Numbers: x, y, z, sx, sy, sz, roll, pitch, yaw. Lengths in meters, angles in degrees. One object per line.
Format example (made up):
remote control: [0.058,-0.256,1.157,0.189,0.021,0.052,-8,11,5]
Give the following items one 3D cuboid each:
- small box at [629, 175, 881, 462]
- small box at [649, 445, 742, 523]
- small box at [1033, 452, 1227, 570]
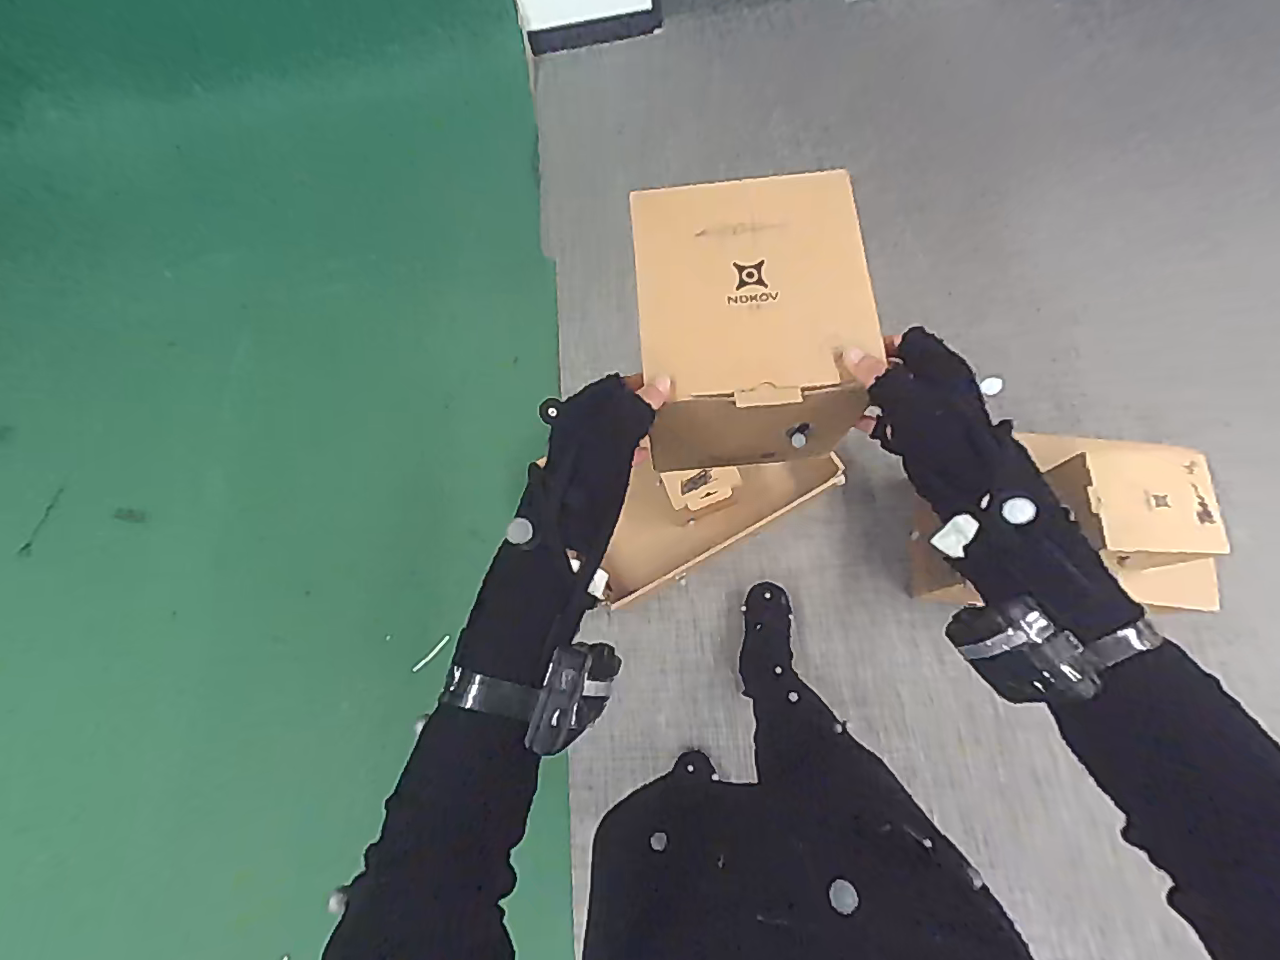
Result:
small box: [0.082,-0.120,0.465,0.168,0.176,0.179,-5,73,2]
small box: [0.135,-0.009,1.296,0.168,0.176,0.179,-22,69,0]
small box: [0.806,0.058,0.918,0.179,0.176,0.168,1,73,7]
